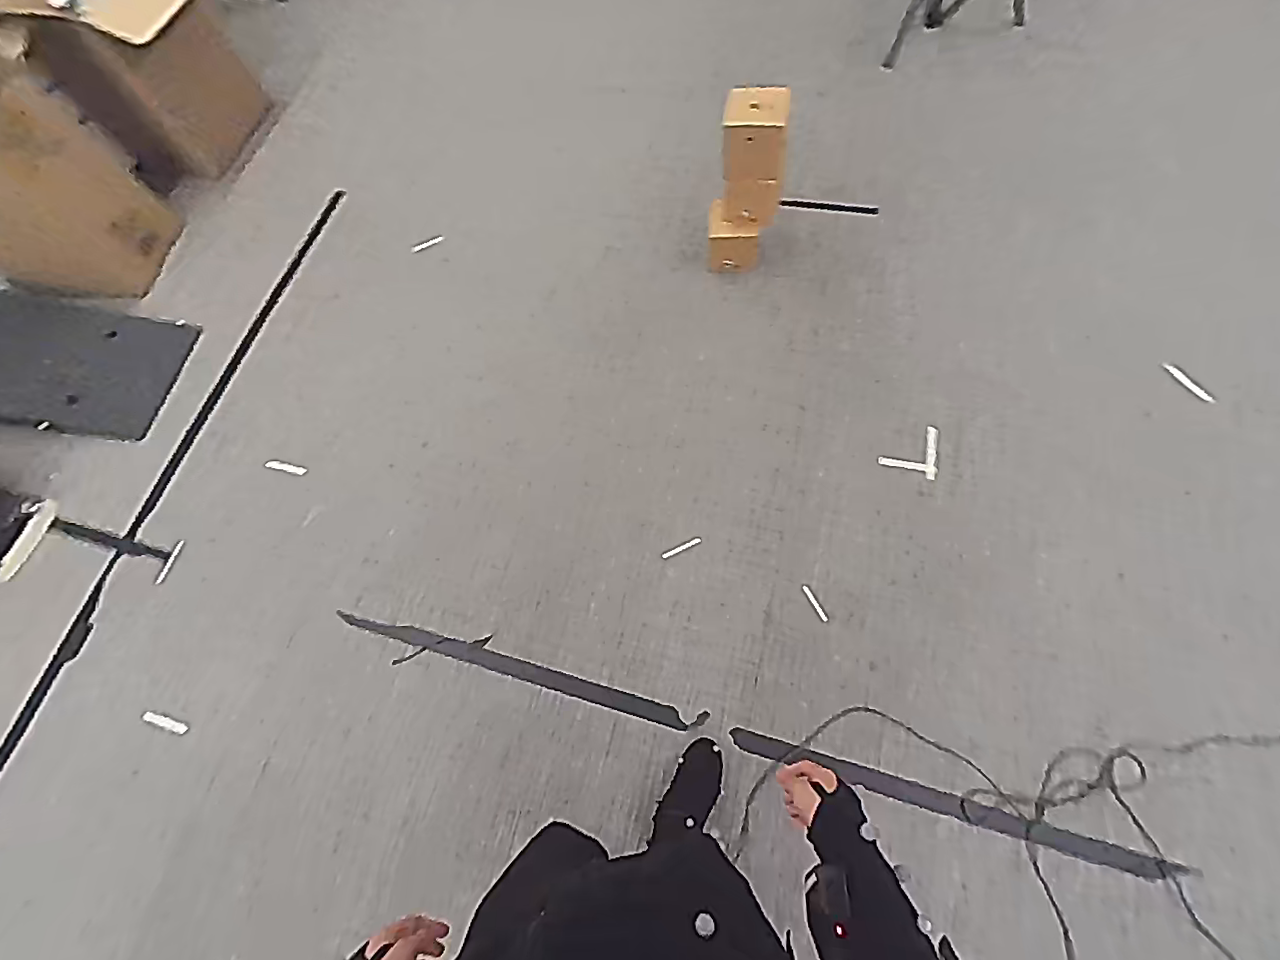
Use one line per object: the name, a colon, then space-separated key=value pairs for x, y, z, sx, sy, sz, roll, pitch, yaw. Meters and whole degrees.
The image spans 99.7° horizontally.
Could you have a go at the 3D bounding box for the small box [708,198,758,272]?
small box: x=0.322 y=-0.853 z=1.885 sx=0.168 sy=0.176 sz=0.179 roll=1 pitch=68 yaw=8

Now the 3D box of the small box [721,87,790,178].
small box: x=0.336 y=-1.024 z=1.597 sx=0.179 sy=0.176 sz=0.168 roll=8 pitch=68 yaw=11

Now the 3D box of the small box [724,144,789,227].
small box: x=0.369 y=-0.958 z=1.745 sx=0.168 sy=0.176 sz=0.179 roll=15 pitch=70 yaw=14
